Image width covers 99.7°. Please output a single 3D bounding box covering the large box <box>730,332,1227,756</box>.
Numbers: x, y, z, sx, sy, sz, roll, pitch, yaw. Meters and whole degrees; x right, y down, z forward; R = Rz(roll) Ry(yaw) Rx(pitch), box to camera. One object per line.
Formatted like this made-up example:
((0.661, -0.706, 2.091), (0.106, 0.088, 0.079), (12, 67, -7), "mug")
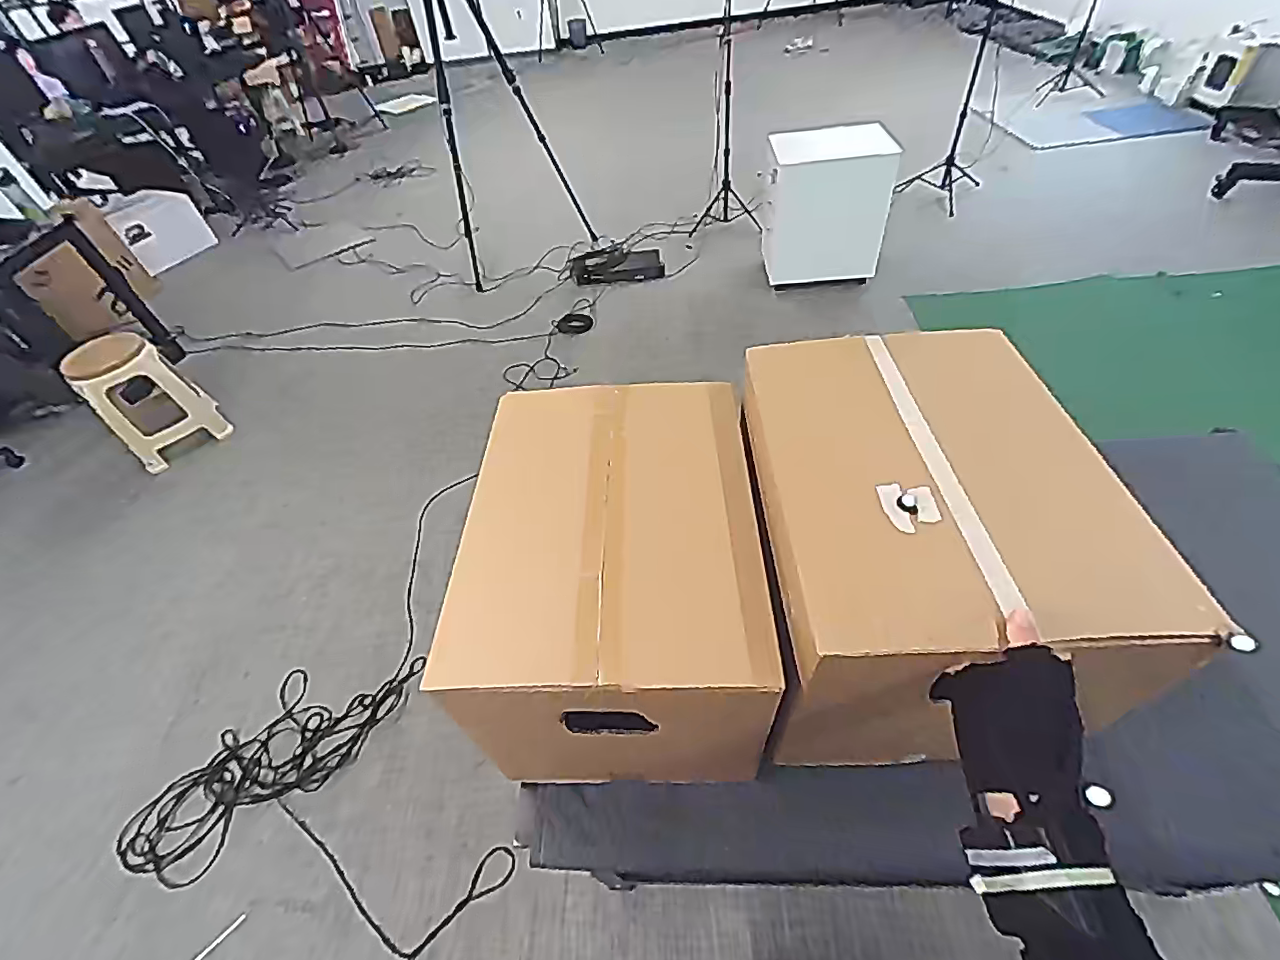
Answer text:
((0.294, 0.073, 0.650), (0.320, 0.320, 0.408), (-4, 49, 3), "large box")
